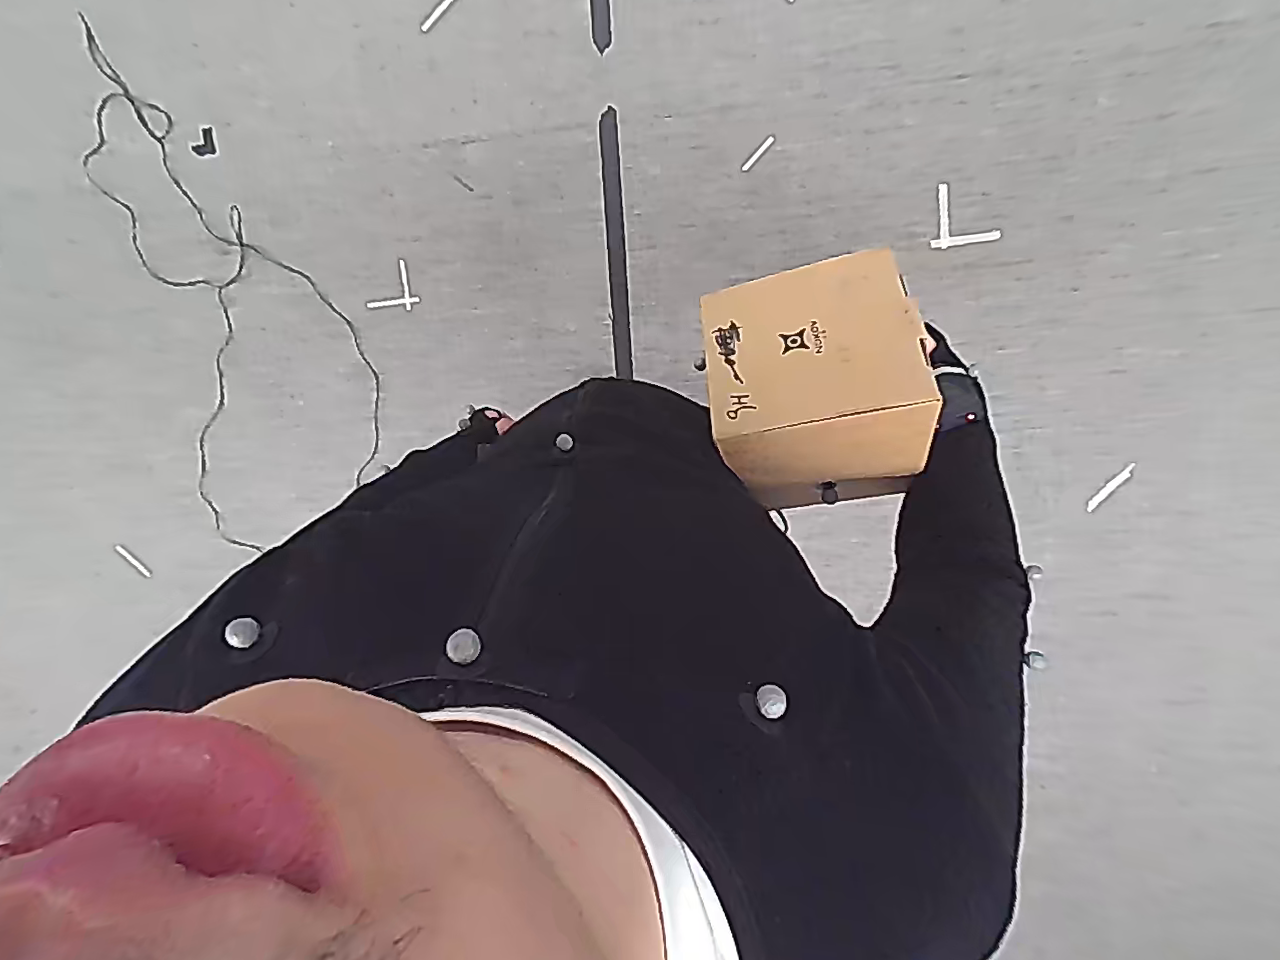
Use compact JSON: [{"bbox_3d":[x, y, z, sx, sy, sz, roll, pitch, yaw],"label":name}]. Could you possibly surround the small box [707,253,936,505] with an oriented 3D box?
[{"bbox_3d":[0.172,-0.087,0.545,0.179,0.176,0.168,-9,61,16],"label":"small box"}]
